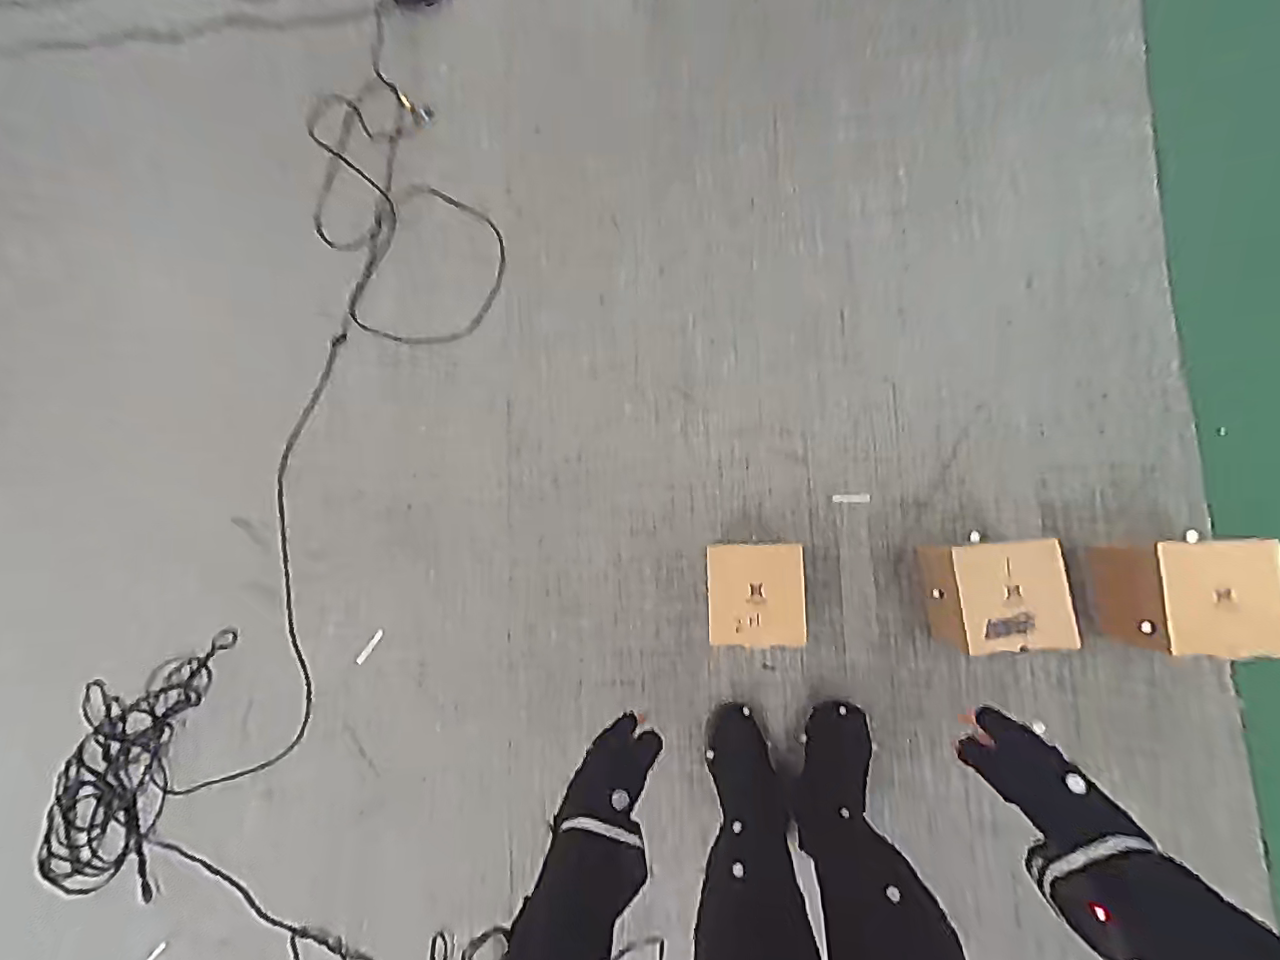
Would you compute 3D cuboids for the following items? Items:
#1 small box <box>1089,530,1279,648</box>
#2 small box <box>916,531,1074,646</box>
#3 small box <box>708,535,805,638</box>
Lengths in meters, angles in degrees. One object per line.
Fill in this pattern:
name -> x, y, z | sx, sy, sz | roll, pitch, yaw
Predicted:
small box -> 0.899, 0.177, 0.907 | 0.168, 0.176, 0.179 | -3, 84, 10
small box -> 0.610, 0.184, 0.952 | 0.168, 0.176, 0.179 | -7, 82, 8
small box -> 0.213, 0.192, 1.014 | 0.168, 0.176, 0.179 | -2, 84, 10
